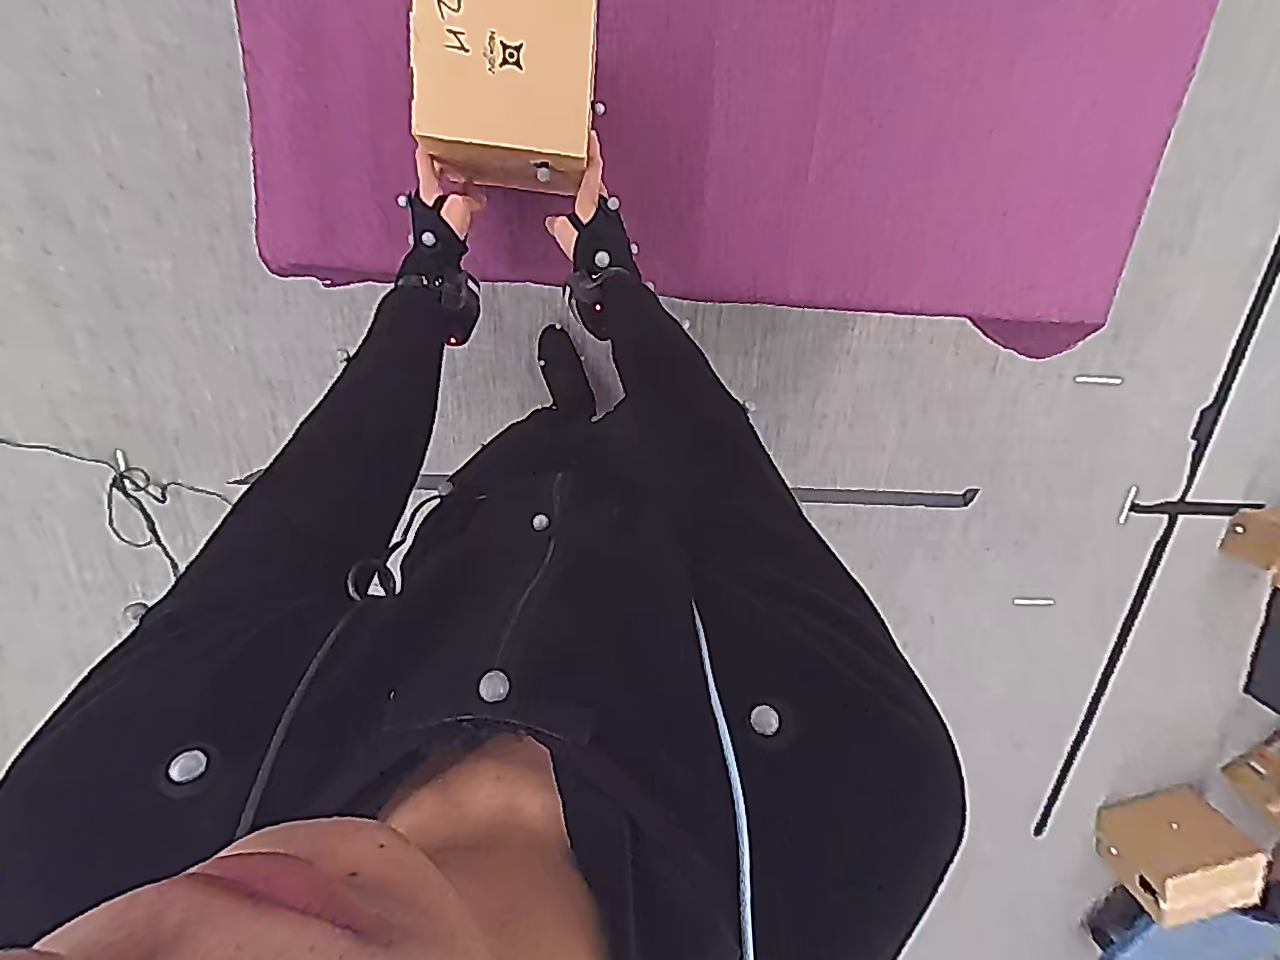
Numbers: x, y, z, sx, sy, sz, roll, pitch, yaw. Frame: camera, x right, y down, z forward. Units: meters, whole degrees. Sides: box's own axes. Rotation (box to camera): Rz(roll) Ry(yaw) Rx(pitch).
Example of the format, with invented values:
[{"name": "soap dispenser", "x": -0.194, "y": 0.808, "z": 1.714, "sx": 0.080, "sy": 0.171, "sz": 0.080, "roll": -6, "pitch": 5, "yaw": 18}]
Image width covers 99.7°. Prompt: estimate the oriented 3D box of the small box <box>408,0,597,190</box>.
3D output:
[{"name": "small box", "x": -0.142, "y": -0.436, "z": 0.597, "sx": 0.179, "sy": 0.176, "sz": 0.168, "roll": 4, "pitch": 104, "yaw": -7}]
